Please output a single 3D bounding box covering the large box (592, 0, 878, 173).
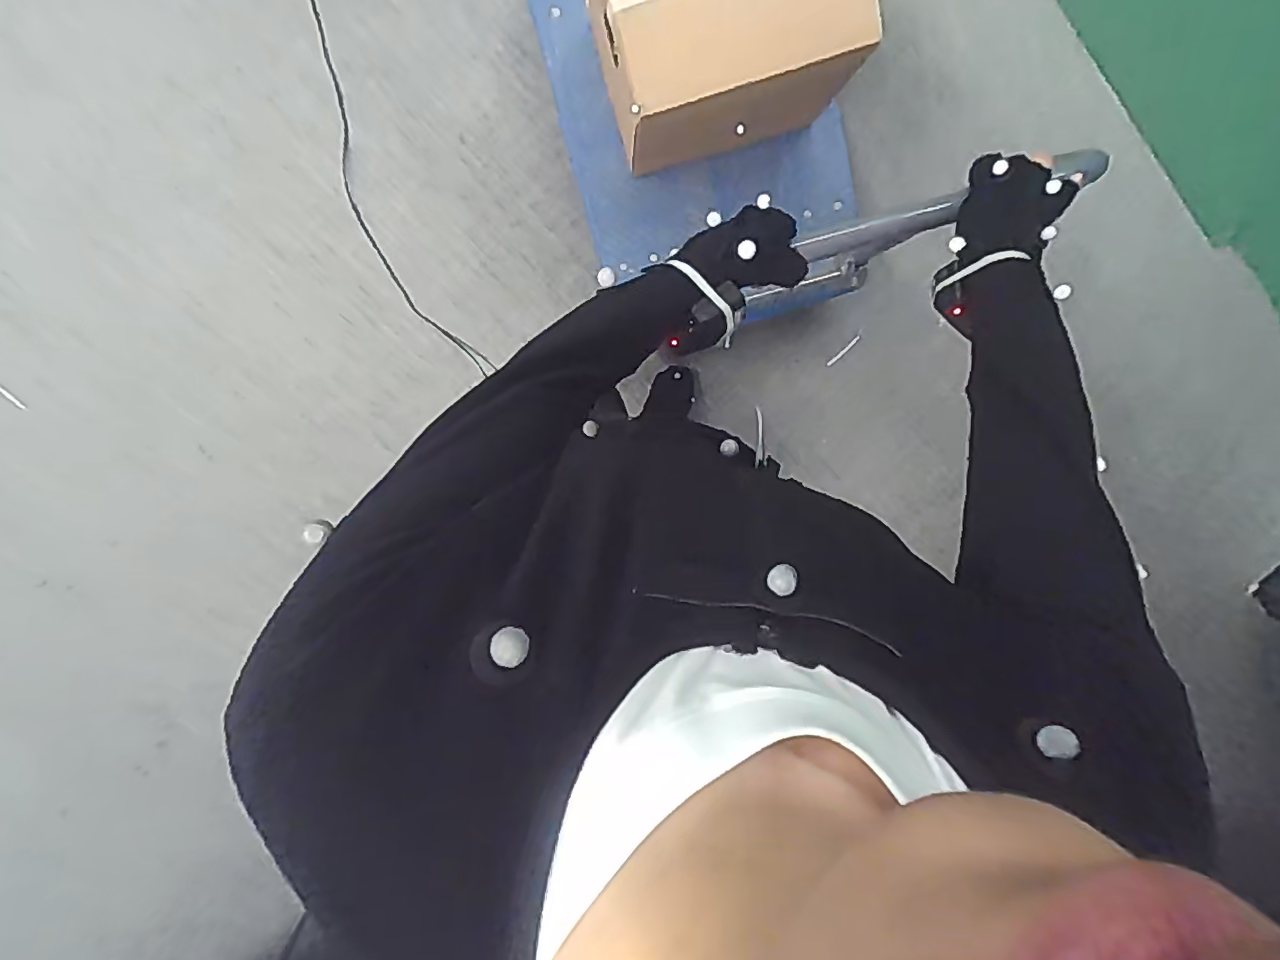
[{"bbox_3d":[0.145,-0.820,0.977,0.408,0.320,0.320,-17,103,2],"label":"large box"}]
